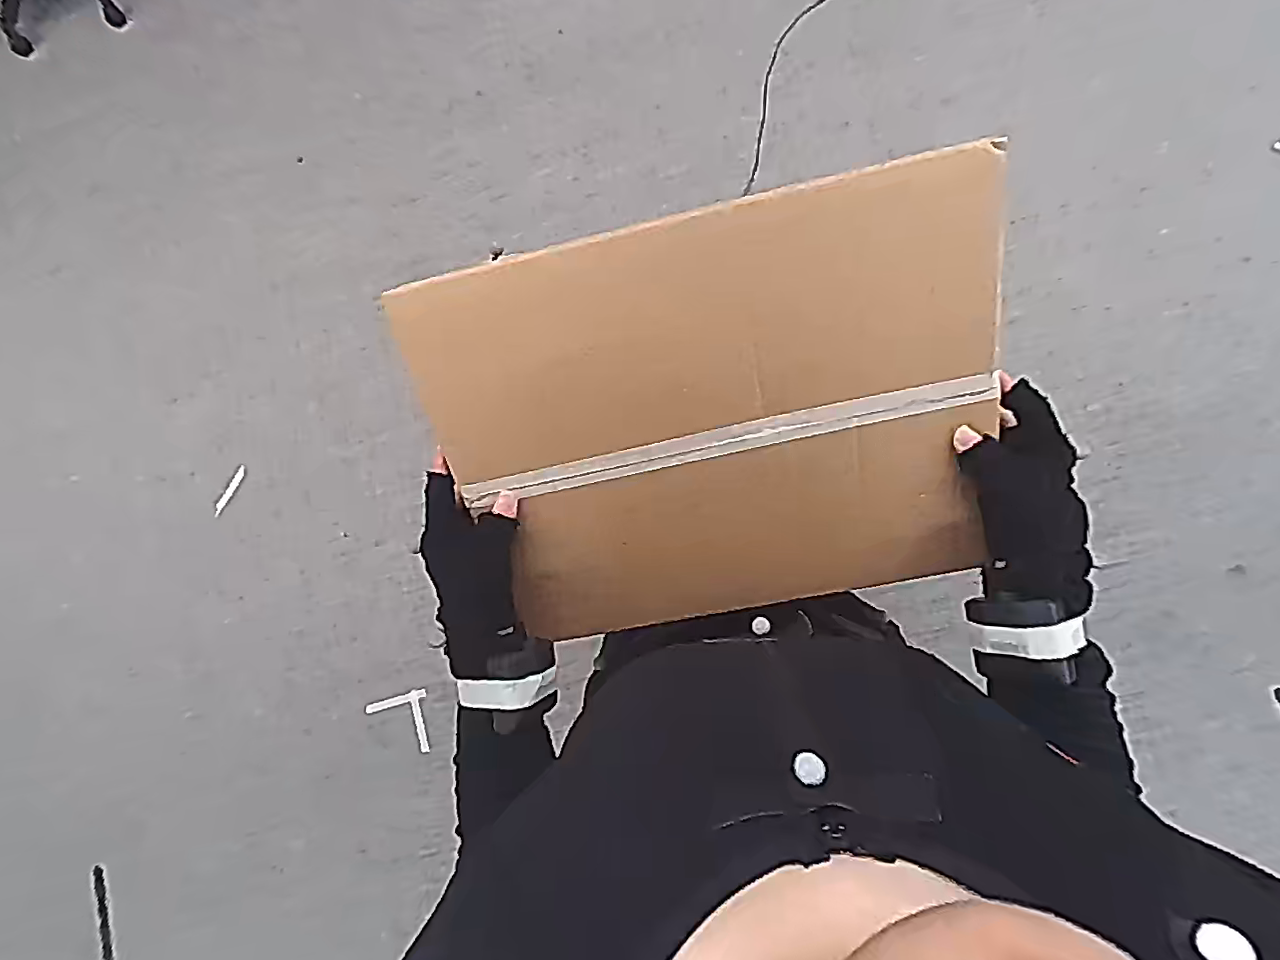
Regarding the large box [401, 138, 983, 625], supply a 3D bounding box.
[{"bbox_3d":[0.056,-0.101,0.553,0.408,0.320,0.320,-11,115,6],"label":"large box"}]
